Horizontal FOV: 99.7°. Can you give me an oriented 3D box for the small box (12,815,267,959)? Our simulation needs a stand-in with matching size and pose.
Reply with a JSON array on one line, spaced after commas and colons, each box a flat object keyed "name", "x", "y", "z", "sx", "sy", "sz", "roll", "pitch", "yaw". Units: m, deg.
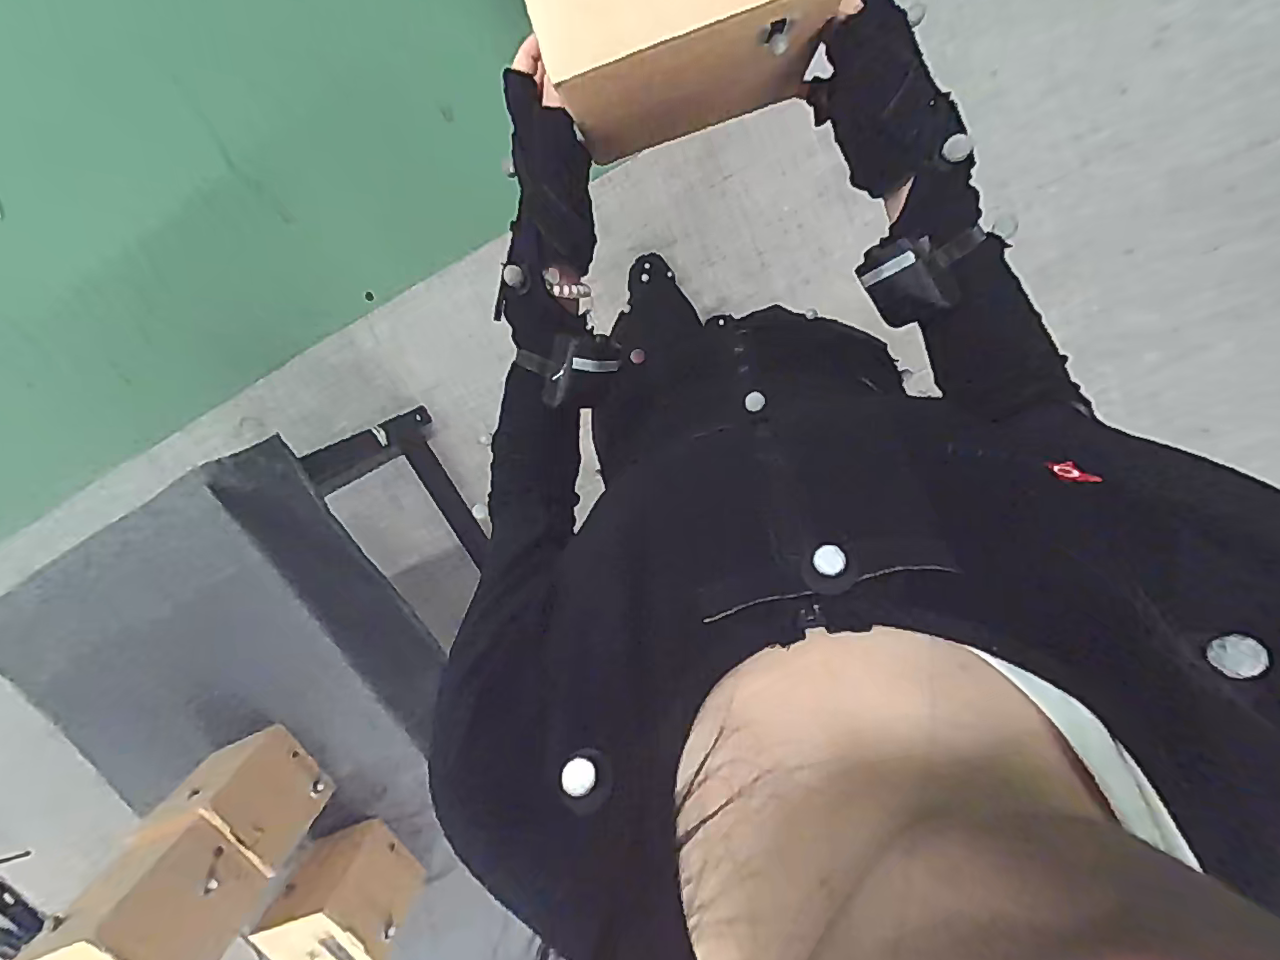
[{"name": "small box", "x": -0.694, "y": 0.626, "z": 0.771, "sx": 0.179, "sy": 0.176, "sz": 0.168, "roll": -28, "pitch": 105, "yaw": 13}]

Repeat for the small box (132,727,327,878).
[{"name": "small box", "x": -0.673, "y": 0.556, "z": 0.919, "sx": 0.179, "sy": 0.176, "sz": 0.168, "roll": -26, "pitch": 105, "yaw": 13}]

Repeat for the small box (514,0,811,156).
[{"name": "small box", "x": 0.009, "y": -0.343, "z": 0.351, "sx": 0.179, "sy": 0.176, "sz": 0.168, "roll": -16, "pitch": 104, "yaw": 8}]
